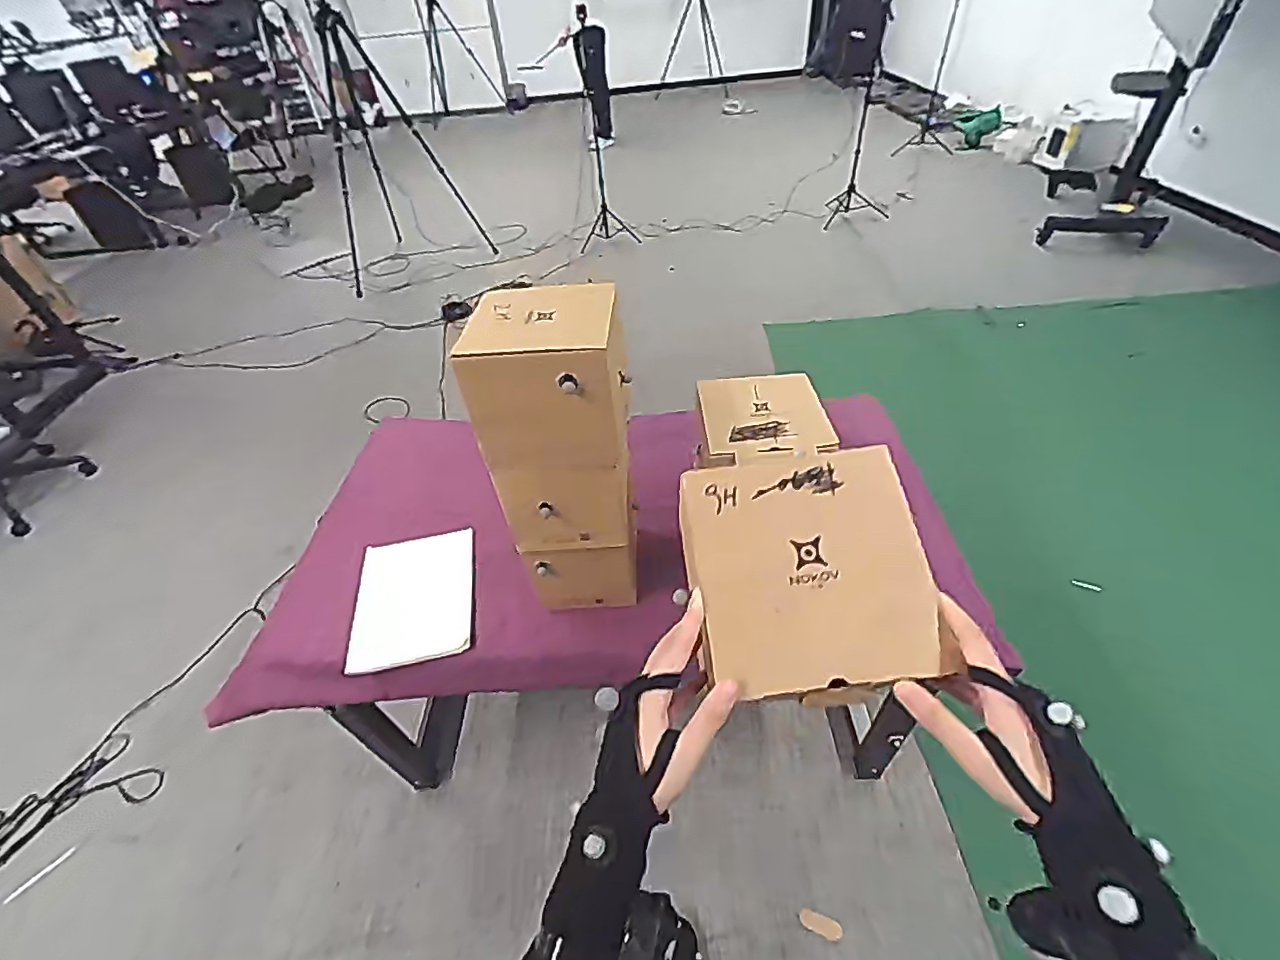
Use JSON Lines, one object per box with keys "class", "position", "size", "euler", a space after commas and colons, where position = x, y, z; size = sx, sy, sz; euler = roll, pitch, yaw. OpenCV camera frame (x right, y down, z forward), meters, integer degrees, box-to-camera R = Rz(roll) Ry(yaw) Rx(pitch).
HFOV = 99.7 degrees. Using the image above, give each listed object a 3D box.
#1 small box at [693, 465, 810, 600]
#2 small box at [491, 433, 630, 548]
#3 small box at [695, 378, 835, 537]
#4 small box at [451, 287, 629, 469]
{"class": "small box", "position": [0.177, 0.089, 0.909], "size": [0.168, 0.176, 0.179], "euler": [-2, 42, 3]}
{"class": "small box", "position": [-0.105, -0.010, 0.805], "size": [0.168, 0.176, 0.179], "euler": [-3, 42, 3]}
{"class": "small box", "position": [0.171, -0.028, 0.795], "size": [0.168, 0.176, 0.179], "euler": [-3, 42, 1]}
{"class": "small box", "position": [-0.109, -0.127, 0.688], "size": [0.179, 0.176, 0.168], "euler": [-2, 42, 5]}
